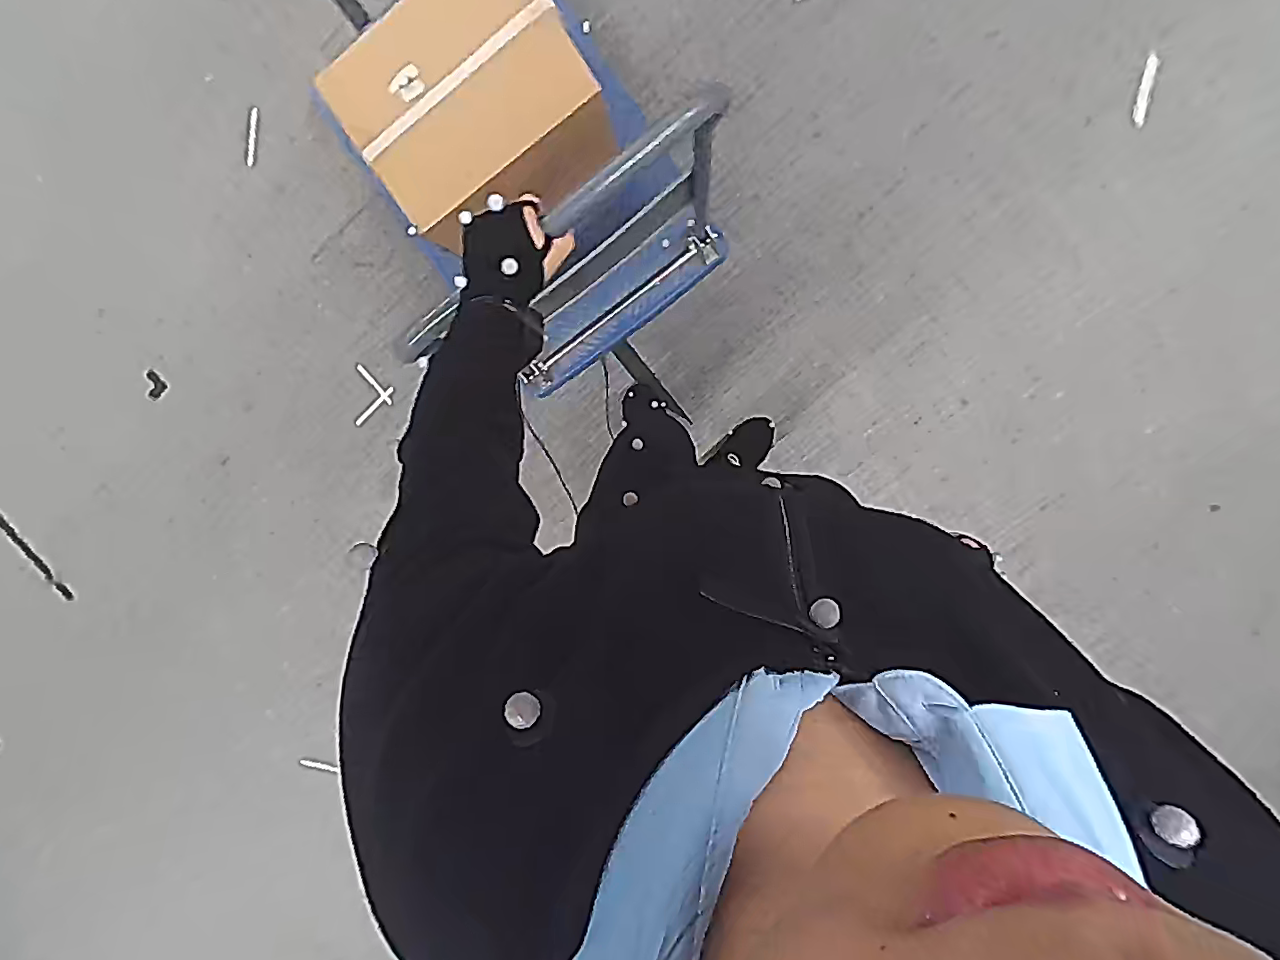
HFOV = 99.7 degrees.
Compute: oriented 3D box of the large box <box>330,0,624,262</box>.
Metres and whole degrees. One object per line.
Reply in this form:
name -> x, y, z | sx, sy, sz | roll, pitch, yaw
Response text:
large box -> -0.289, -0.711, 1.079 | 0.408, 0.320, 0.320 | -33, 96, 10
